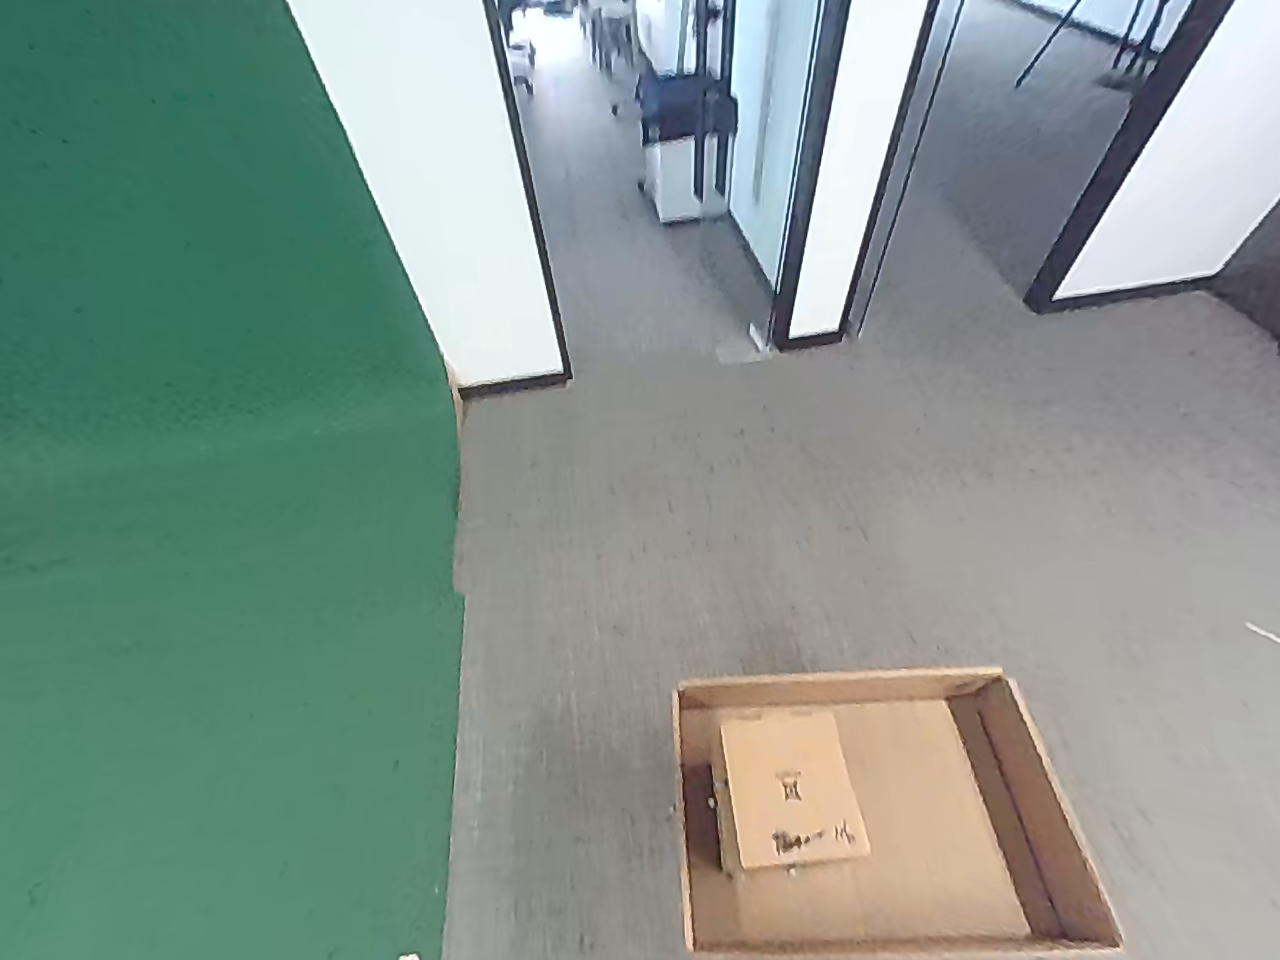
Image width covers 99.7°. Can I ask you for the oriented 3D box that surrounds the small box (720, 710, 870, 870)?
[{"bbox_3d":[0.212,0.458,0.797,0.168,0.176,0.179,-6,52,2],"label":"small box"}]

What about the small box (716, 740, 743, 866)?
[{"bbox_3d":[0.222,0.555,0.928,0.168,0.176,0.179,-4,52,3],"label":"small box"}]
